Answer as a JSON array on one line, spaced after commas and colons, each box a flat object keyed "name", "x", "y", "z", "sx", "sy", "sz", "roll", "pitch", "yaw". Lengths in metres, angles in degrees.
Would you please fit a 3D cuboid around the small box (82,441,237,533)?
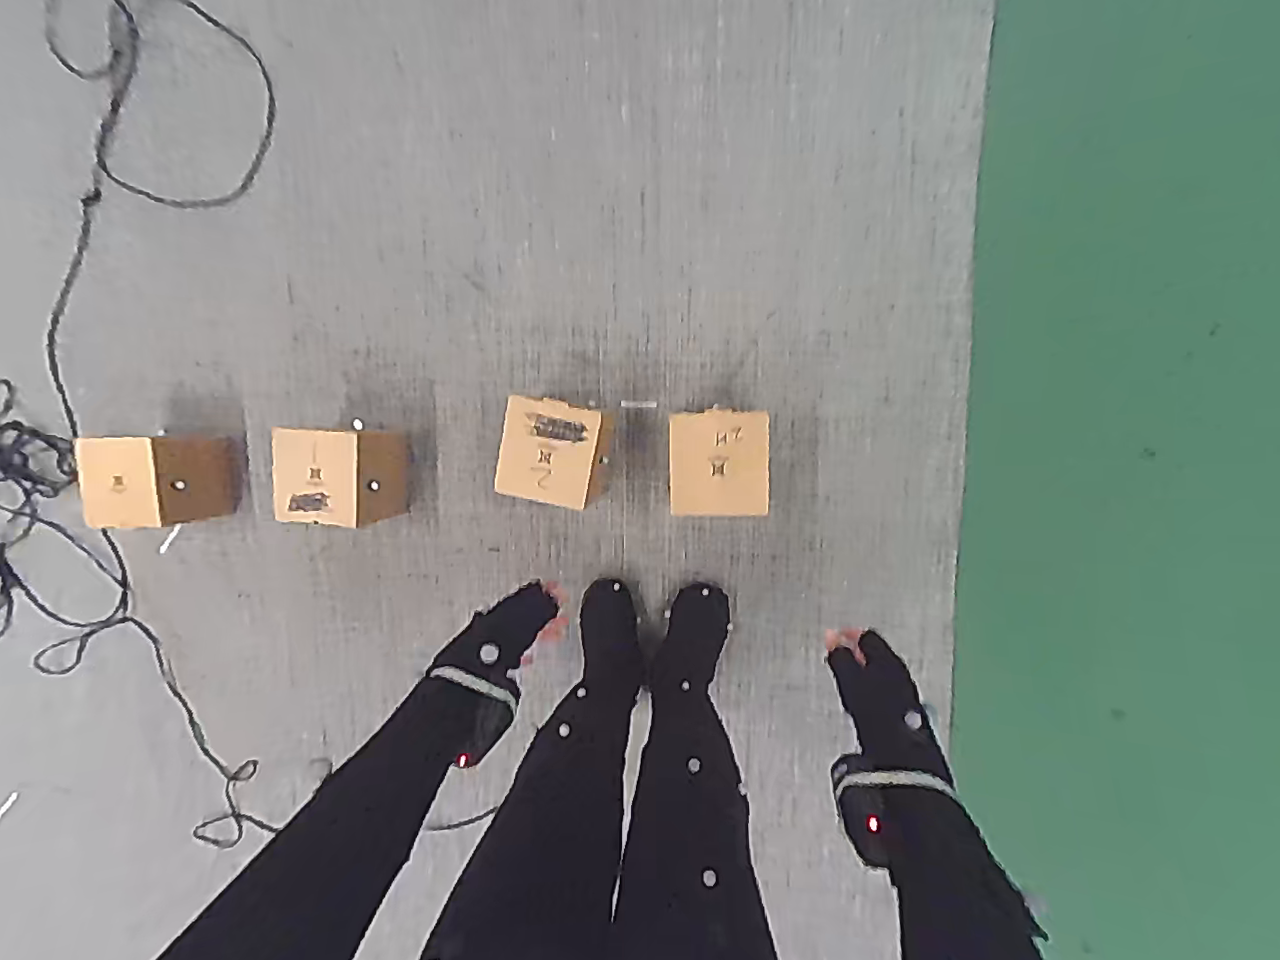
[{"name": "small box", "x": -0.975, "y": 0.007, "z": 1.112, "sx": 0.168, "sy": 0.176, "sz": 0.179, "roll": -1, "pitch": 96, "yaw": 7}]

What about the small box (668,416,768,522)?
[{"name": "small box", "x": 0.138, "y": -0.025, "z": 0.979, "sx": 0.168, "sy": 0.176, "sz": 0.179, "roll": -1, "pitch": 96, "yaw": 6}]

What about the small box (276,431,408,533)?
[{"name": "small box", "x": -0.575, "y": -0.003, "z": 1.062, "sx": 0.168, "sy": 0.176, "sz": 0.179, "roll": 4, "pitch": 96, "yaw": 7}]
